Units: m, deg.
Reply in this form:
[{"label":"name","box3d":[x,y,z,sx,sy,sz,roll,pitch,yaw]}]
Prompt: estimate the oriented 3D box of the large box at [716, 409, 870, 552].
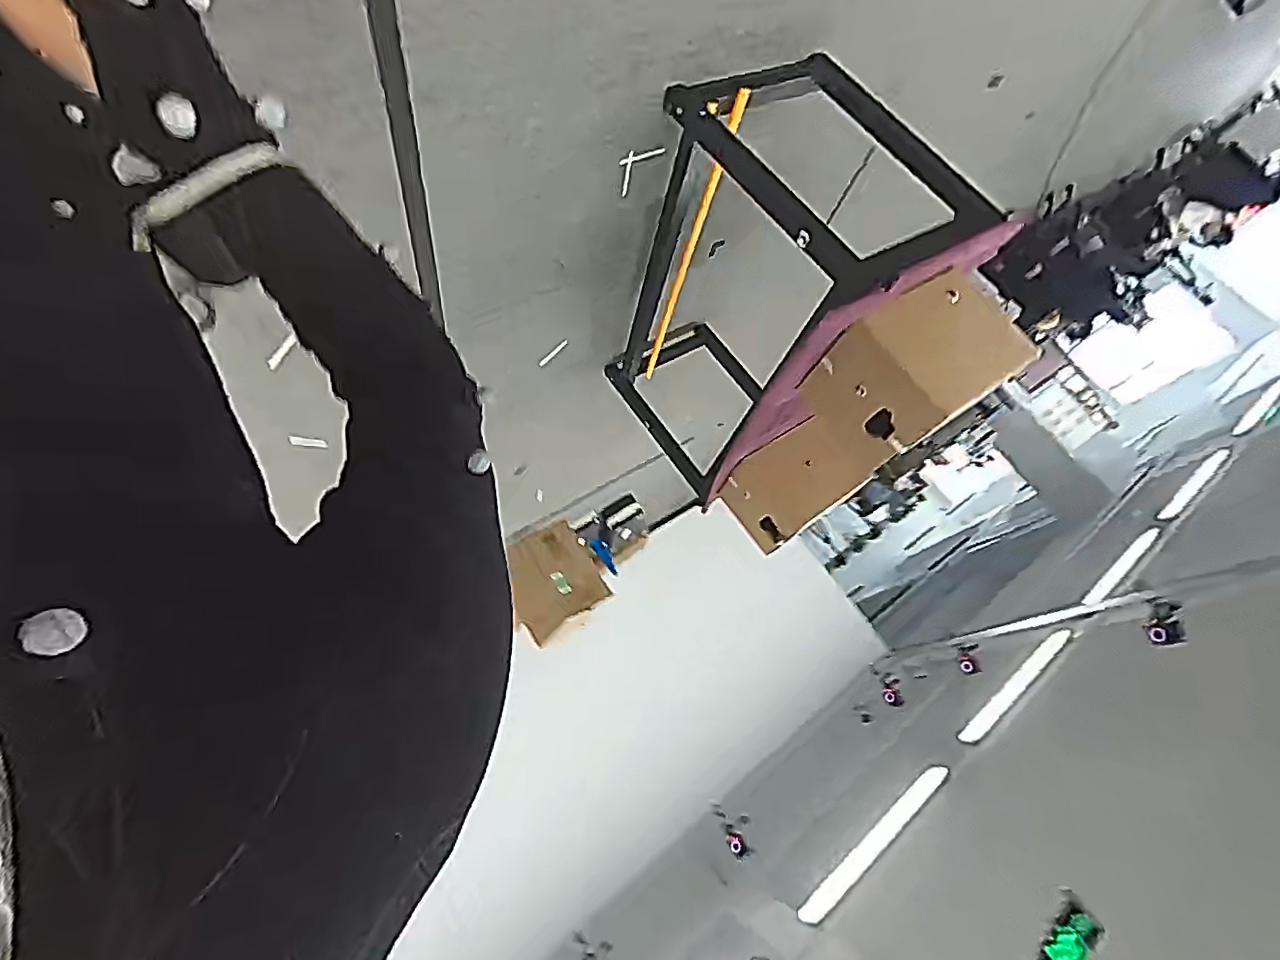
[{"label":"large box","box3d":[0.560,0.002,2.042,0.408,0.320,0.320,-31,165,-24]}]
